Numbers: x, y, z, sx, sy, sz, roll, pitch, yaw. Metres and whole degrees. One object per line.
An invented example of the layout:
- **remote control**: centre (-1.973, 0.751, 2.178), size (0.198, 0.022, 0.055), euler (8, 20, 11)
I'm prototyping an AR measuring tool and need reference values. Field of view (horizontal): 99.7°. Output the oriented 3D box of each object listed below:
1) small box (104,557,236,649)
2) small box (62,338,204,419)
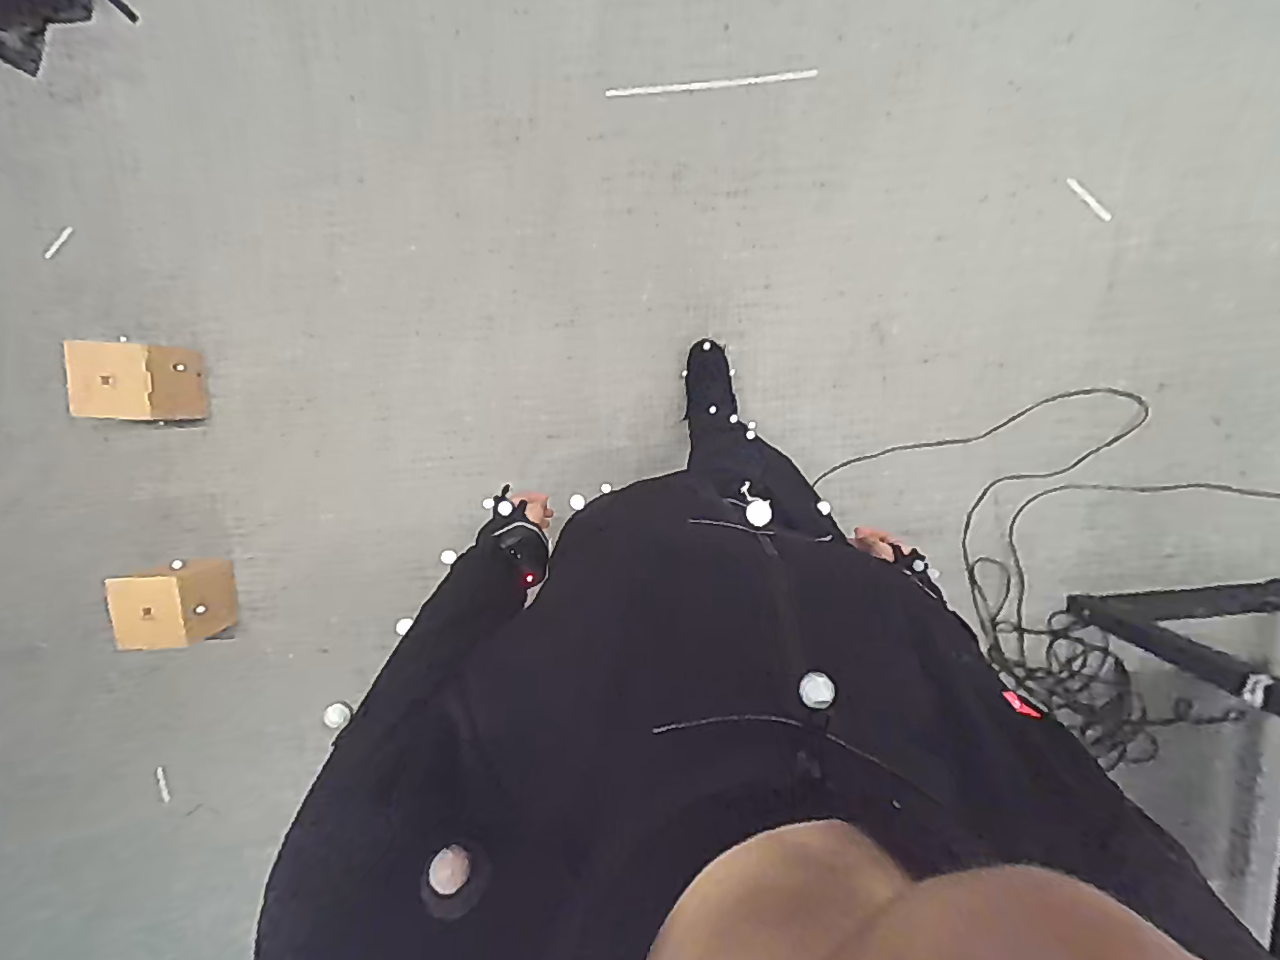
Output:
- **small box**: centre (-1.129, 0.290, 1.312), size (0.168, 0.176, 0.179), euler (-2, 99, 0)
- **small box**: centre (-1.141, -0.228, 1.235), size (0.179, 0.176, 0.168), euler (2, 97, 1)
